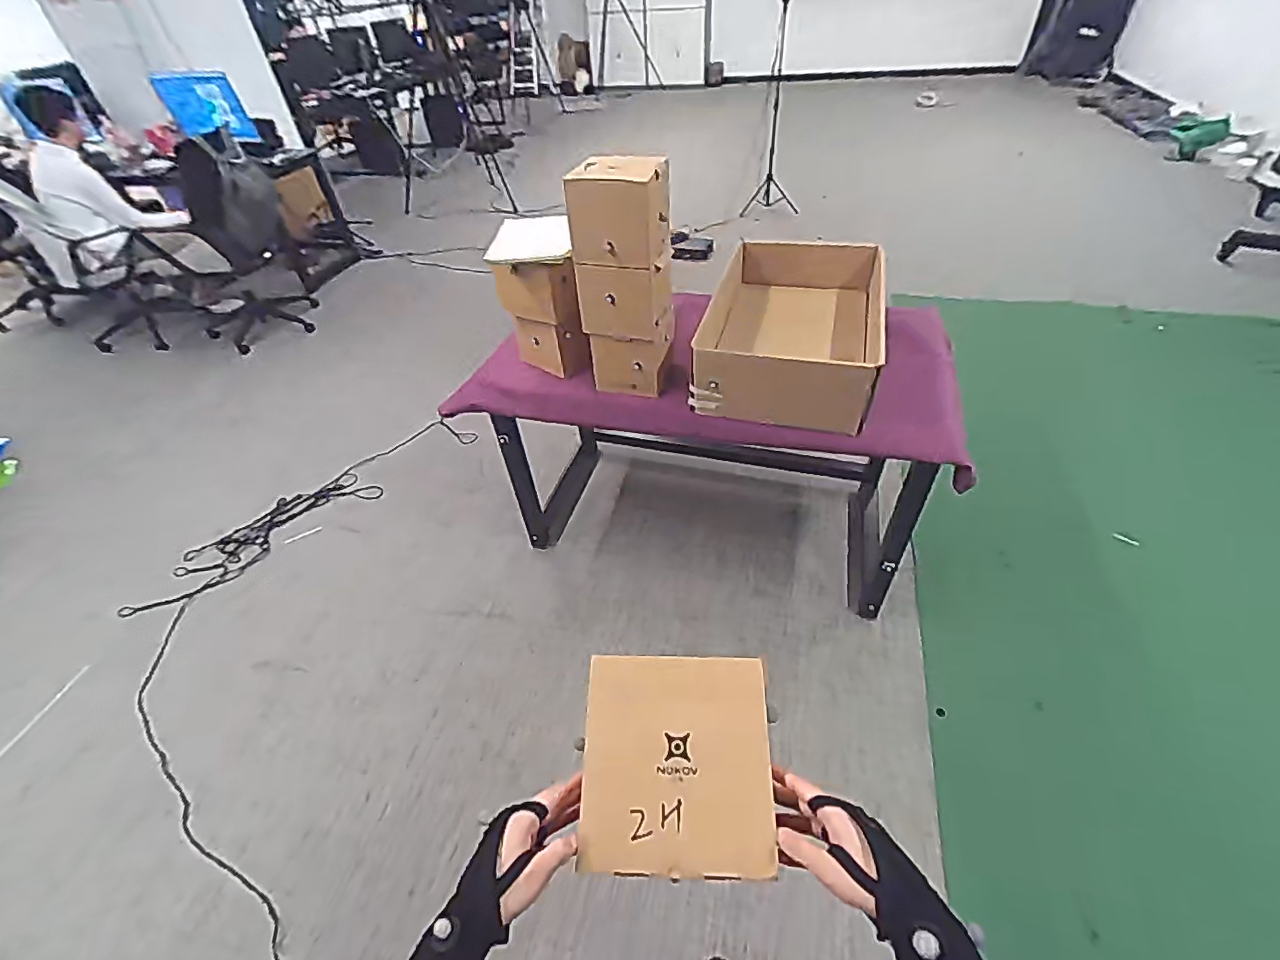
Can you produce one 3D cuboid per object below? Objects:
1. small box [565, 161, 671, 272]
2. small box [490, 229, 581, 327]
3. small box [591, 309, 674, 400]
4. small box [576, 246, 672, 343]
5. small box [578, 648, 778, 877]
[{"bbox_3d":[-0.038,-0.555,1.142,0.179,0.176,0.168,11,44,14],"label":"small box"},{"bbox_3d":[-0.235,-0.500,1.343,0.179,0.176,0.168,19,49,24],"label":"small box"},{"bbox_3d":[-0.010,-0.323,1.372,0.168,0.176,0.179,10,44,15],"label":"small box"},{"bbox_3d":[-0.030,-0.435,1.254,0.179,0.176,0.168,10,44,14],"label":"small box"},{"bbox_3d":[0.037,0.280,0.546,0.168,0.176,0.179,0,60,4],"label":"small box"}]
